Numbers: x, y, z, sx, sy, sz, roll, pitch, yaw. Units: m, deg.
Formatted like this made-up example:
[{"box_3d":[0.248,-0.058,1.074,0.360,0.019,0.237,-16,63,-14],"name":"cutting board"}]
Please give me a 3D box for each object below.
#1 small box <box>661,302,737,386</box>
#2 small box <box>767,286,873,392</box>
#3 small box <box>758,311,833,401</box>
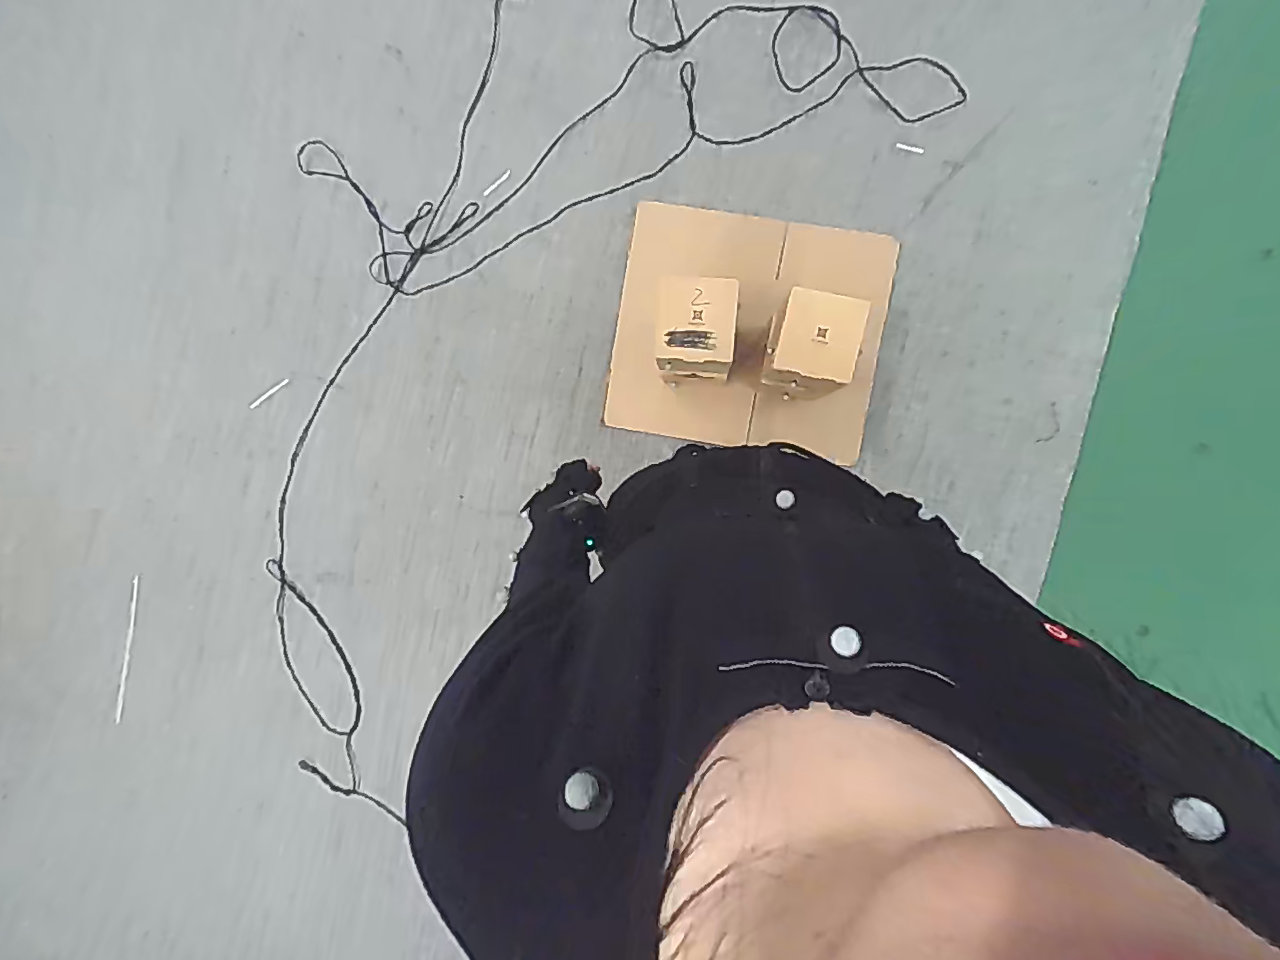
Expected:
[{"box_3d":[0.148,-0.337,1.367,0.168,0.176,0.179,6,93,5],"name":"small box"},{"box_3d":[0.384,-0.301,1.188,0.168,0.176,0.179,13,95,5],"name":"small box"},{"box_3d":[0.396,-0.304,1.350,0.168,0.176,0.179,10,94,6],"name":"small box"}]
